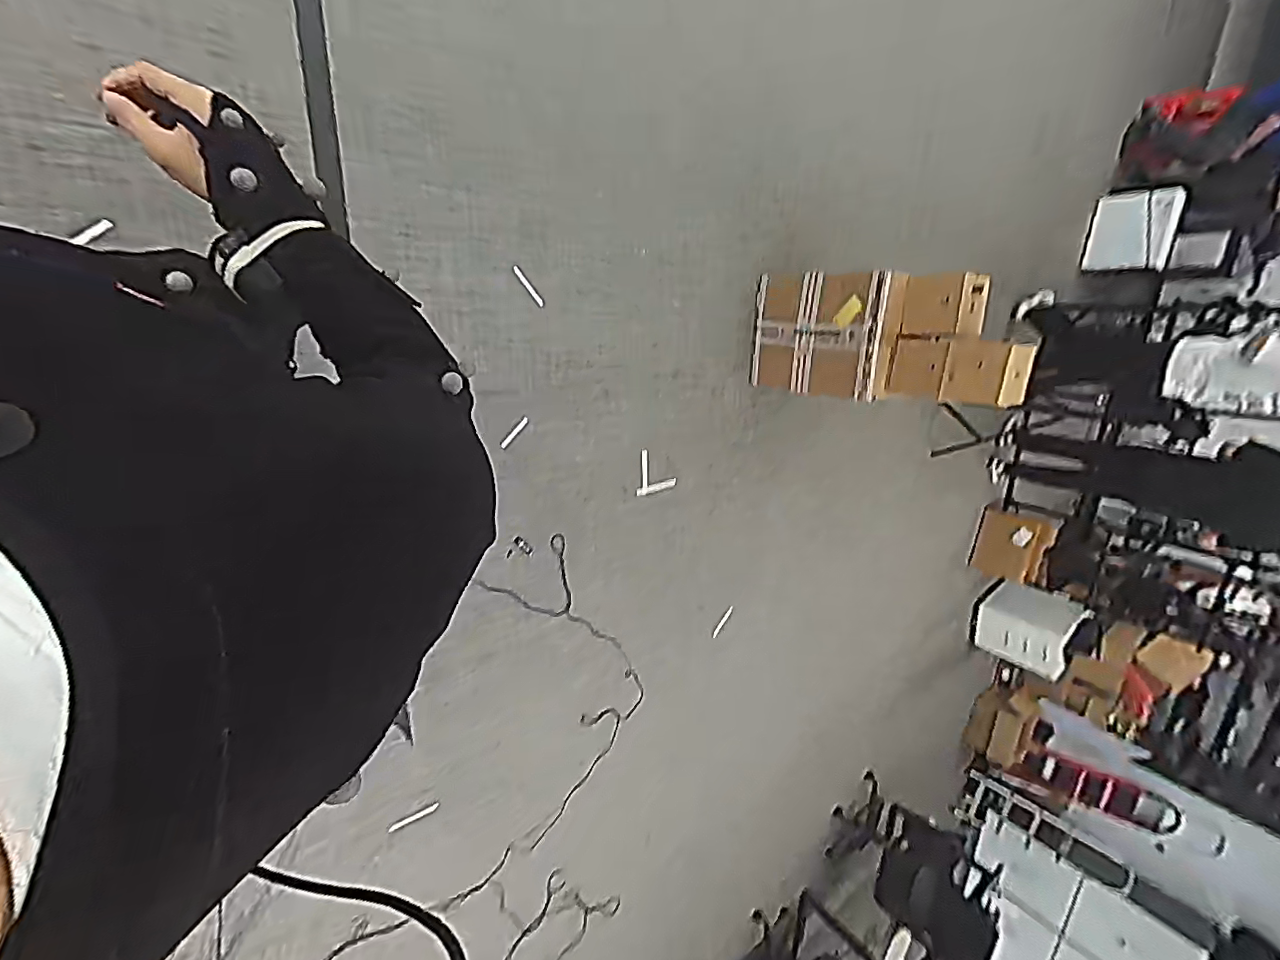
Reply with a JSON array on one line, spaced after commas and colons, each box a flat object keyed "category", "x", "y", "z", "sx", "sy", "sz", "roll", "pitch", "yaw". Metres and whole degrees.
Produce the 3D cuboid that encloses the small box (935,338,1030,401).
[{"category": "small box", "x": 0.997, "y": -0.326, "z": 1.582, "sx": 0.179, "sy": 0.176, "sz": 0.168, "roll": -10, "pitch": 111, "yaw": -36}]
